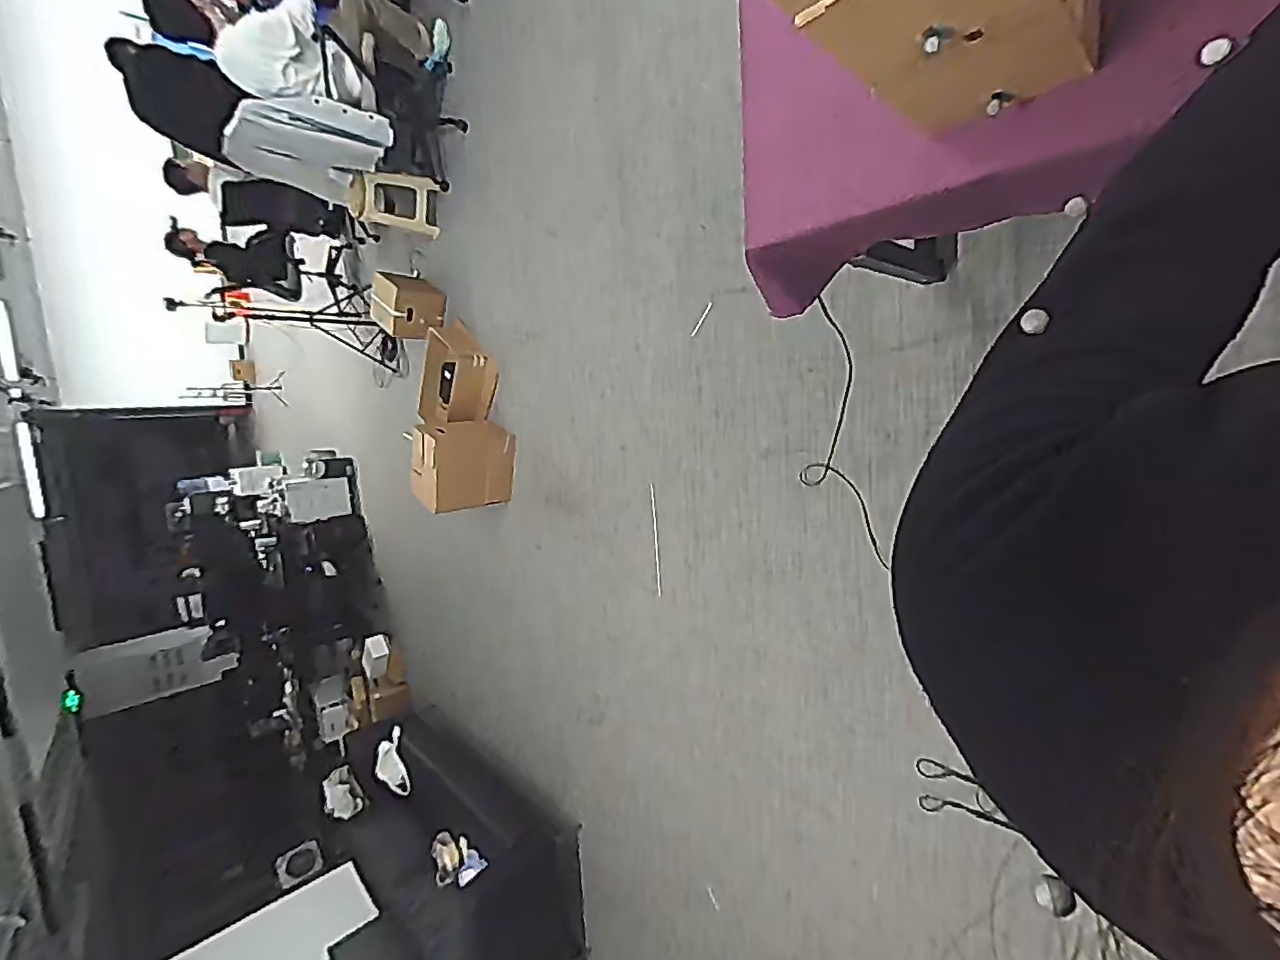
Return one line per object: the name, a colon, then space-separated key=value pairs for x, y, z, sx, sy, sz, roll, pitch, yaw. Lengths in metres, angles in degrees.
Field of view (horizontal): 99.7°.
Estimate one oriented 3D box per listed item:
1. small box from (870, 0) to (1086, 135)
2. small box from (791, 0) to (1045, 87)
small box: x=0.372 y=-0.520 z=0.593 sx=0.179 sy=0.176 sz=0.168 roll=3 pitch=99 yaw=46
small box: x=0.251 y=-0.504 z=0.481 sx=0.168 sy=0.176 sz=0.179 roll=5 pitch=101 yaw=47
